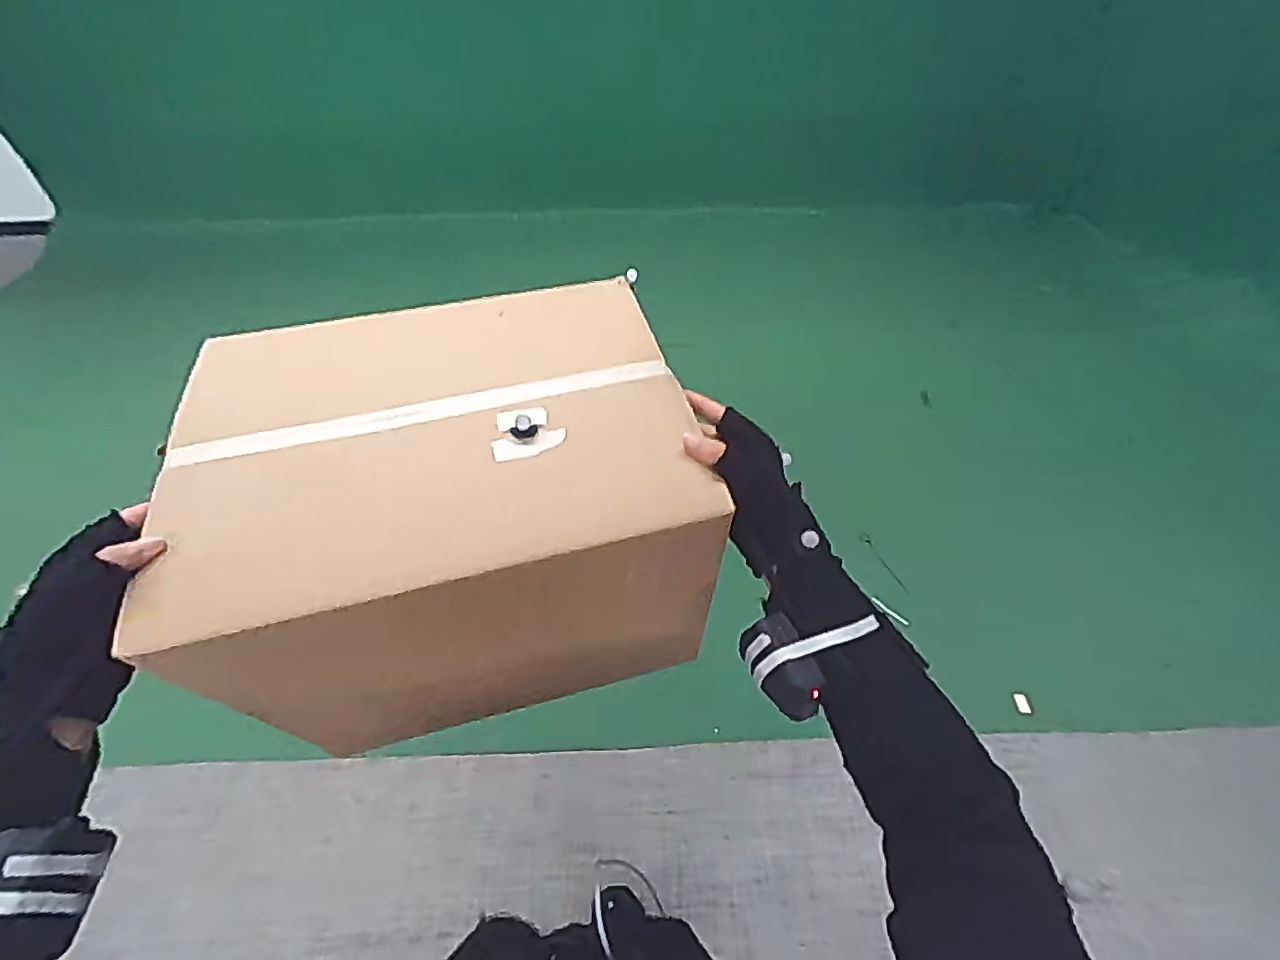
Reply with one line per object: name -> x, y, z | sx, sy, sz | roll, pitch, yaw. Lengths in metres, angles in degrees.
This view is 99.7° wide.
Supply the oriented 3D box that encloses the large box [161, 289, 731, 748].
large box -> -0.163, 0.039, 0.583 | 0.408, 0.320, 0.320 | -12, 54, -11
